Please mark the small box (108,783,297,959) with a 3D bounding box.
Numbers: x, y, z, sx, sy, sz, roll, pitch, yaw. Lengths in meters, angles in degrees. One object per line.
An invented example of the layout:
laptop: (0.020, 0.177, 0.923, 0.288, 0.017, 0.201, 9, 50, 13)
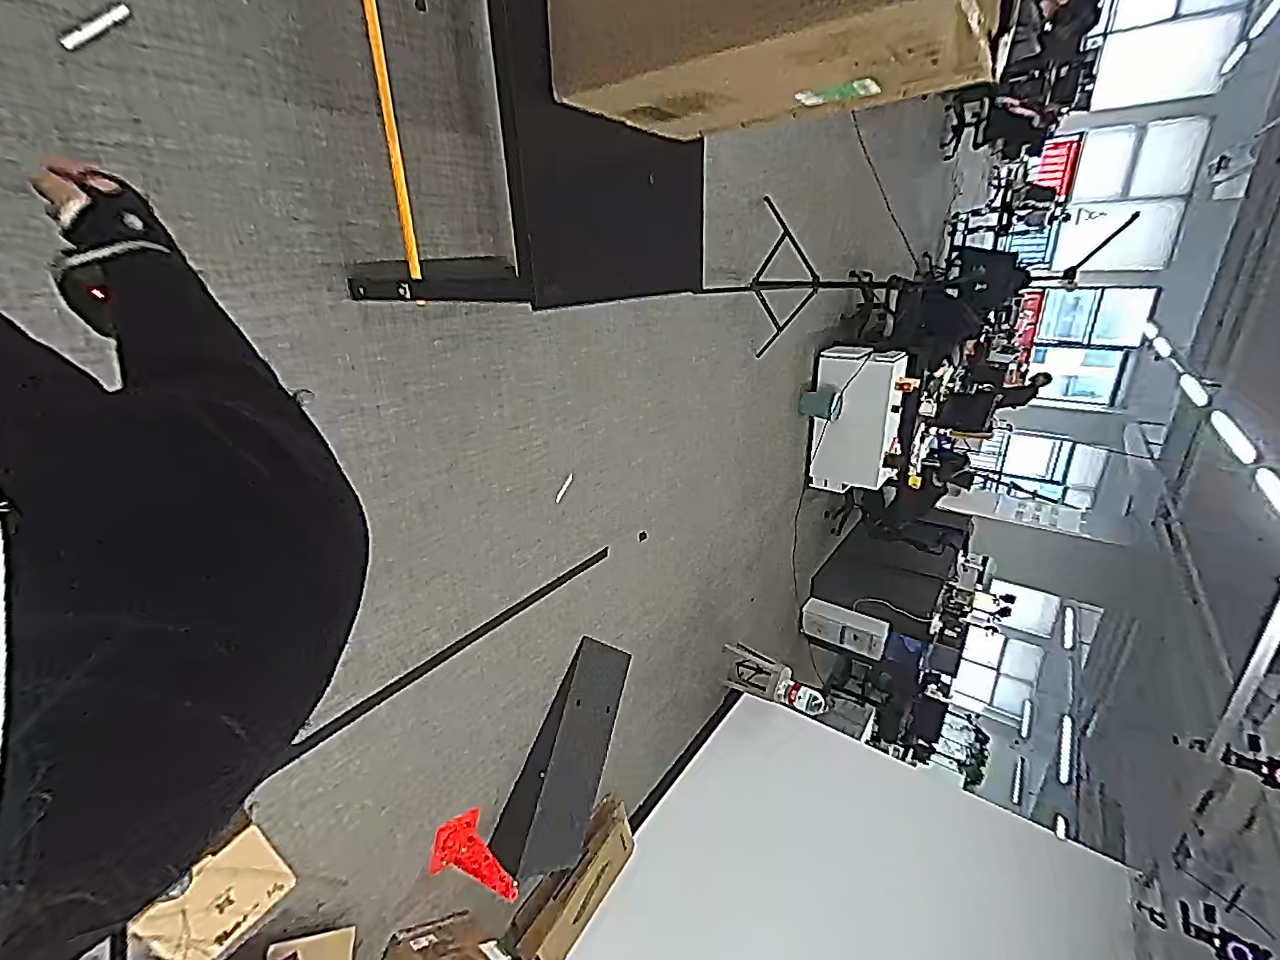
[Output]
small box: (-0.716, 0.639, 0.889, 0.168, 0.176, 0.179, -36, 129, -44)
